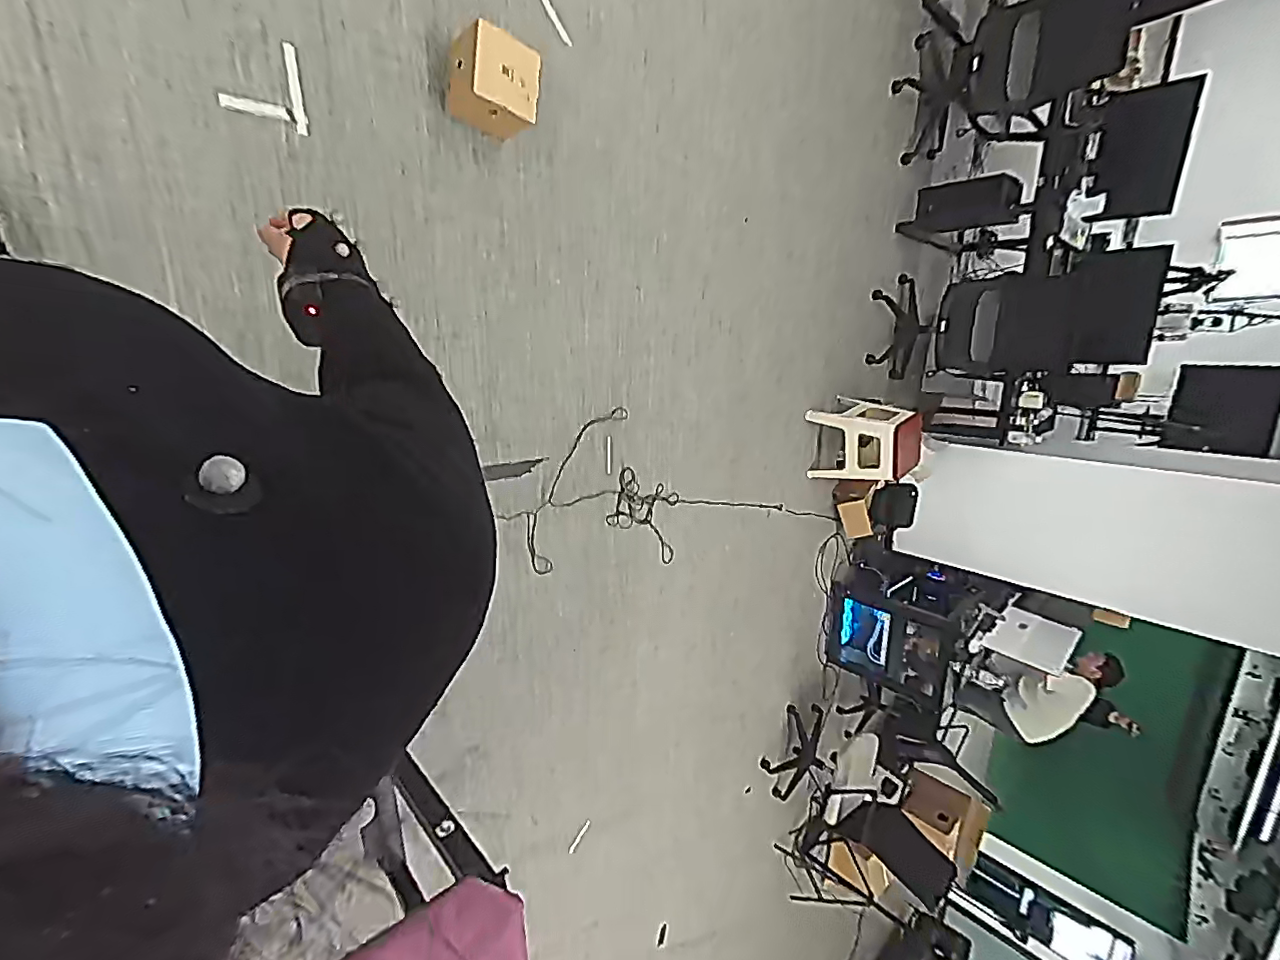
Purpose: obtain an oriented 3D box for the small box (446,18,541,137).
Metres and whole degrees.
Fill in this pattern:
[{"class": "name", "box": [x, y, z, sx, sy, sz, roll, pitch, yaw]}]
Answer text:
[{"class": "small box", "box": [-0.380, -1.016, 1.388, 0.179, 0.176, 0.168, 0, 101, -45]}]
